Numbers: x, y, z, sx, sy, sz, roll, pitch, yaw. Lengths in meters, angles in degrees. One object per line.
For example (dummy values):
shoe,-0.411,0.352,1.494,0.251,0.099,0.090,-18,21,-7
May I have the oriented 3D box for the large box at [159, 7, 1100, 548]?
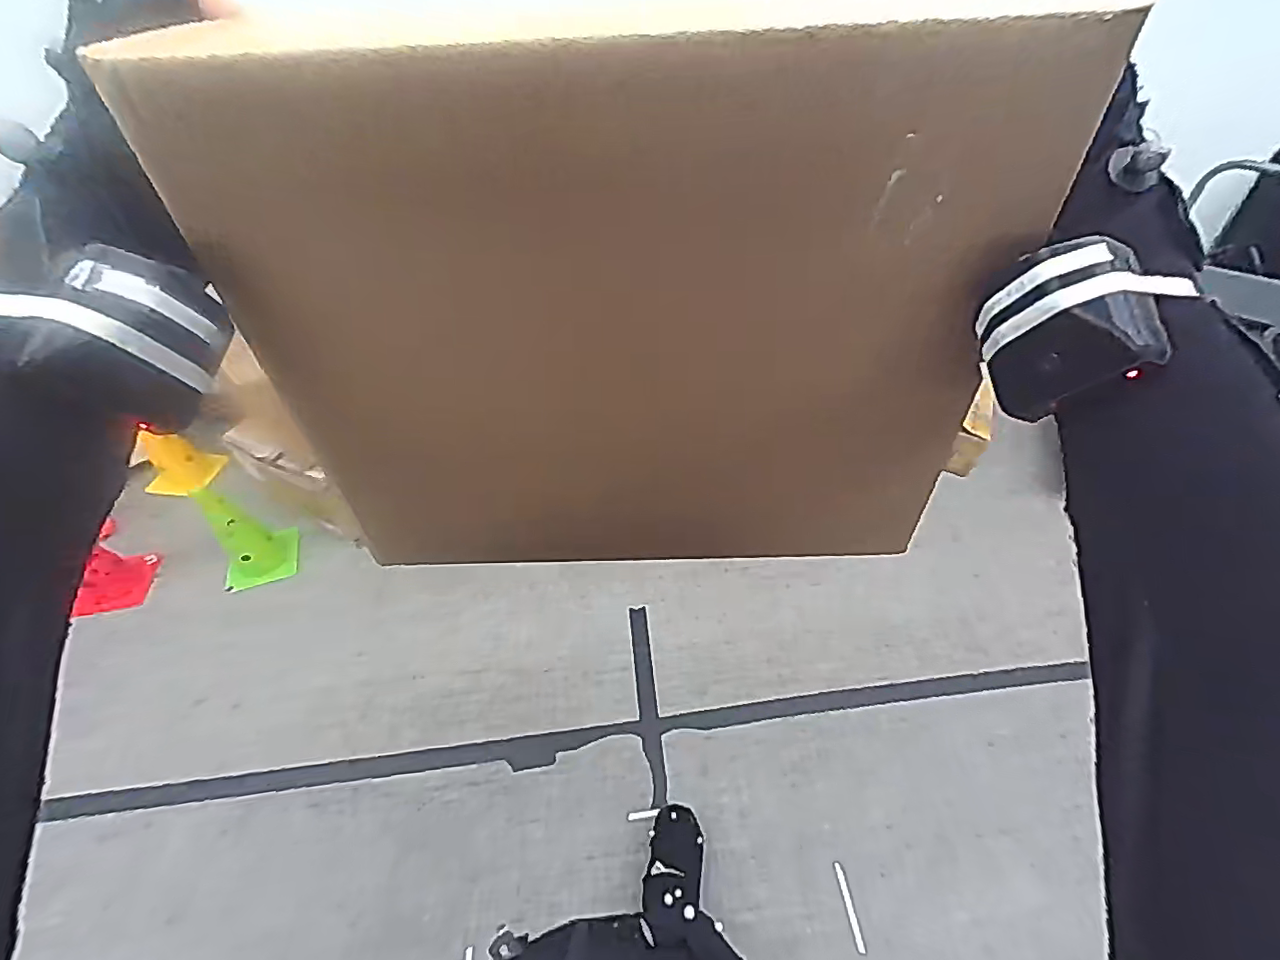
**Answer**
large box,-0.005,-0.162,0.433,0.408,0.320,0.320,-1,43,0
